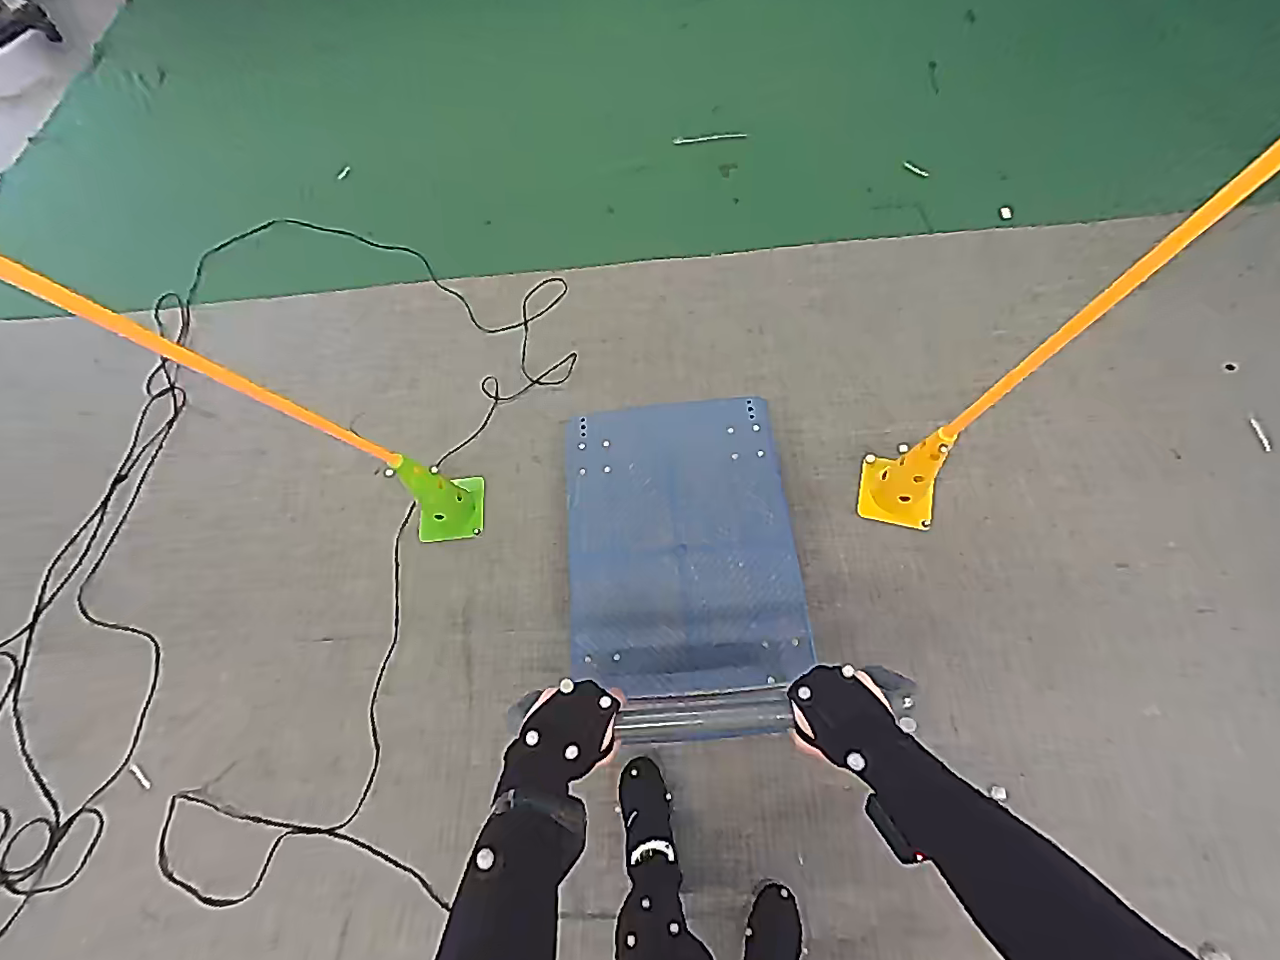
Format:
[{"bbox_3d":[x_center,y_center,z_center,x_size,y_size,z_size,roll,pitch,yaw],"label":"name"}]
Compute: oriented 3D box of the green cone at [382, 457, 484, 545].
[{"bbox_3d":[-0.602,0.027,1.513,0.202,0.368,0.200,-8,65,4],"label":"green cone"}]
